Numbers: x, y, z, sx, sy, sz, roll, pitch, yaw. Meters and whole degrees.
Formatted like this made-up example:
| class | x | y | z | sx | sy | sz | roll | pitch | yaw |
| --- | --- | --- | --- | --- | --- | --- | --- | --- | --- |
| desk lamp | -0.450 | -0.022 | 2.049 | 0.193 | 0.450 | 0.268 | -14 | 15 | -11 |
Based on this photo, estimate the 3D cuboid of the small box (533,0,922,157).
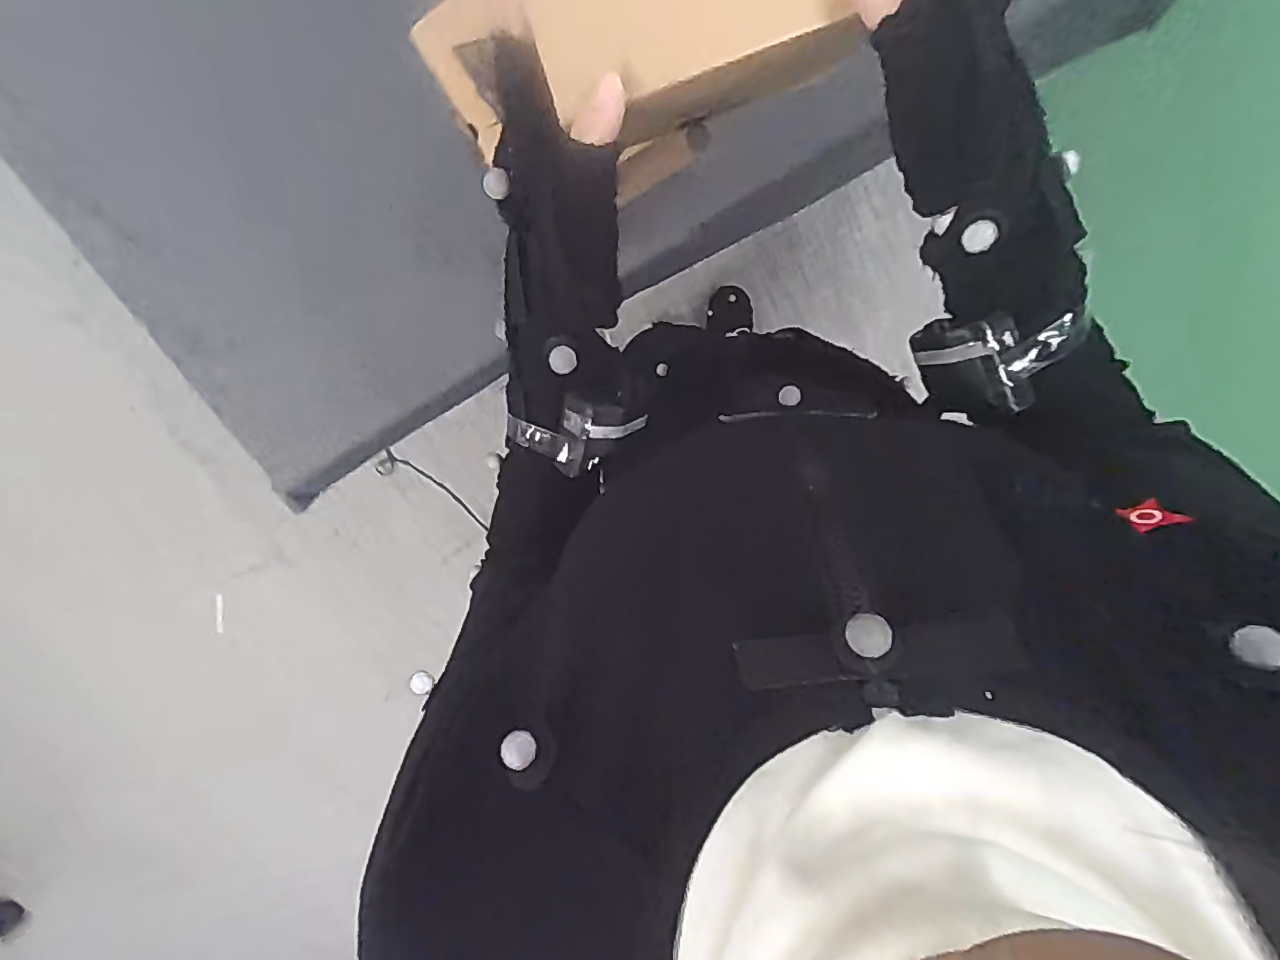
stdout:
| class | x | y | z | sx | sy | sz | roll | pitch | yaw |
| --- | --- | --- | --- | --- | --- | --- | --- | --- | --- |
| small box | 0.022 | -0.292 | 0.275 | 0.168 | 0.176 | 0.179 | -14 | 114 | 8 |

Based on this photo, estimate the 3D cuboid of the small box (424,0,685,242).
| class | x | y | z | sx | sy | sz | roll | pitch | yaw |
| --- | --- | --- | --- | --- | --- | --- | --- | --- | --- |
| small box | -0.063 | -0.354 | 0.524 | 0.179 | 0.176 | 0.168 | -29 | 106 | 10 |
